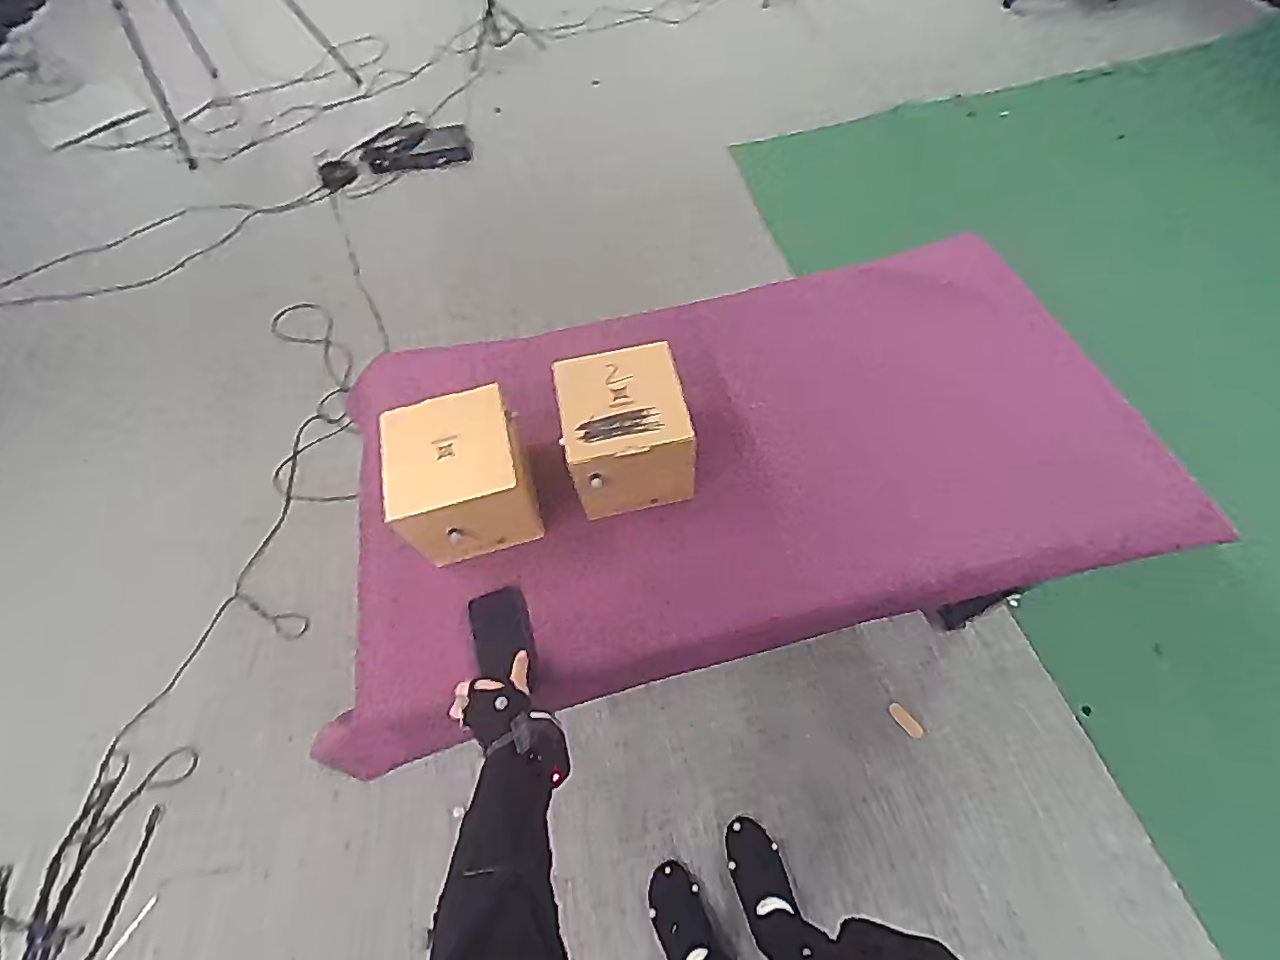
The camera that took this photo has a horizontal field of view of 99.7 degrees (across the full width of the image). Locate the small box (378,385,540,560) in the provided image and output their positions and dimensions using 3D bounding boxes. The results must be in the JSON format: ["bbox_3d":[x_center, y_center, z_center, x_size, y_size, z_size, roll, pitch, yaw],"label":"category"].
[{"bbox_3d":[-0.250,0.000,0.771,0.168,0.176,0.179,-16,60,-4],"label":"small box"}]
